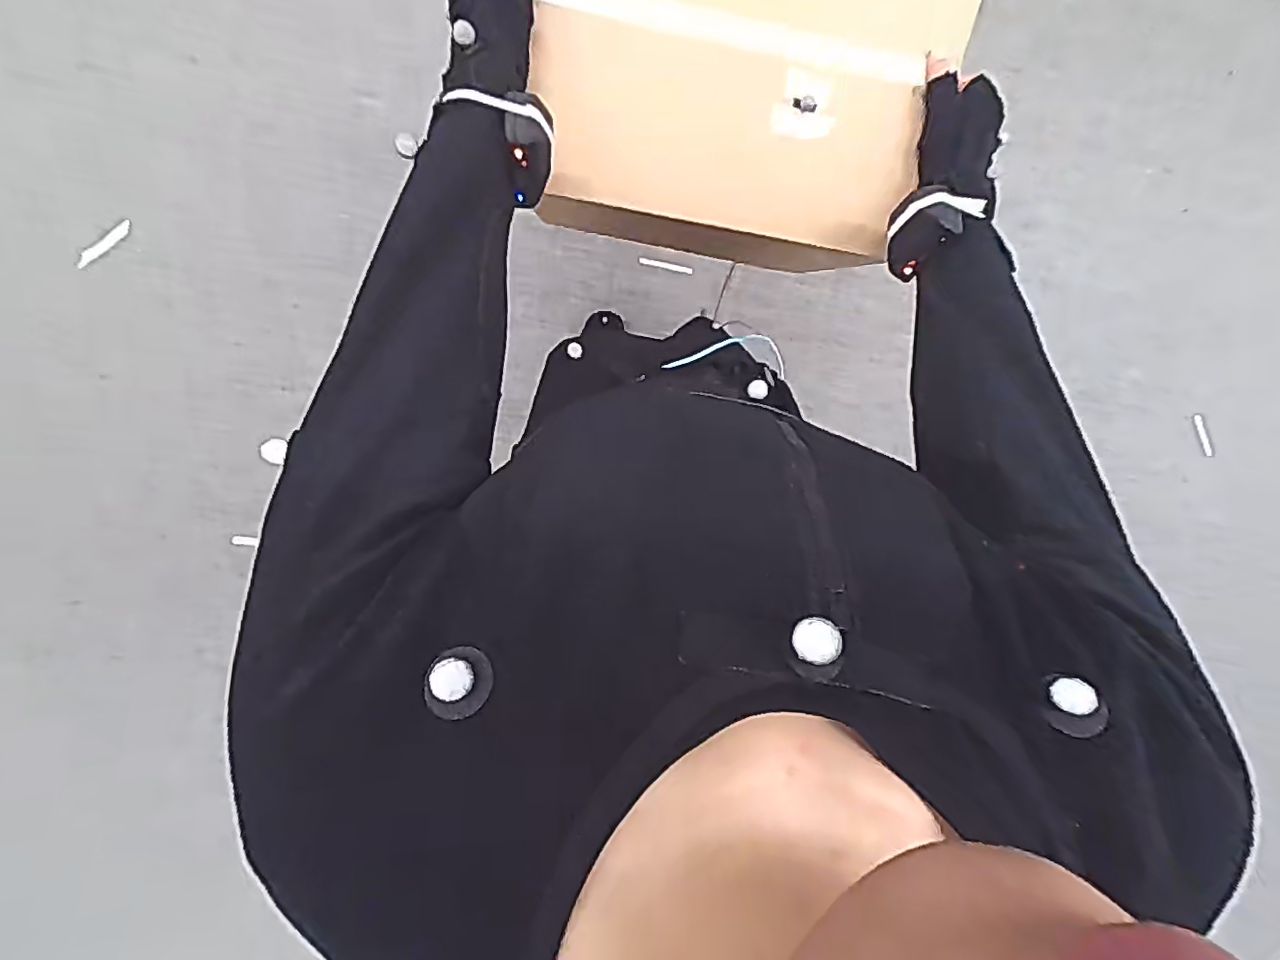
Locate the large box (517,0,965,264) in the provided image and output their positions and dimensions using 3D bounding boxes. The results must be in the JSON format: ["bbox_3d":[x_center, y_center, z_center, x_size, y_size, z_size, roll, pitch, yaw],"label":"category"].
[{"bbox_3d":[0.085,-0.456,0.643,0.408,0.320,0.320,8,109,-7],"label":"large box"}]
